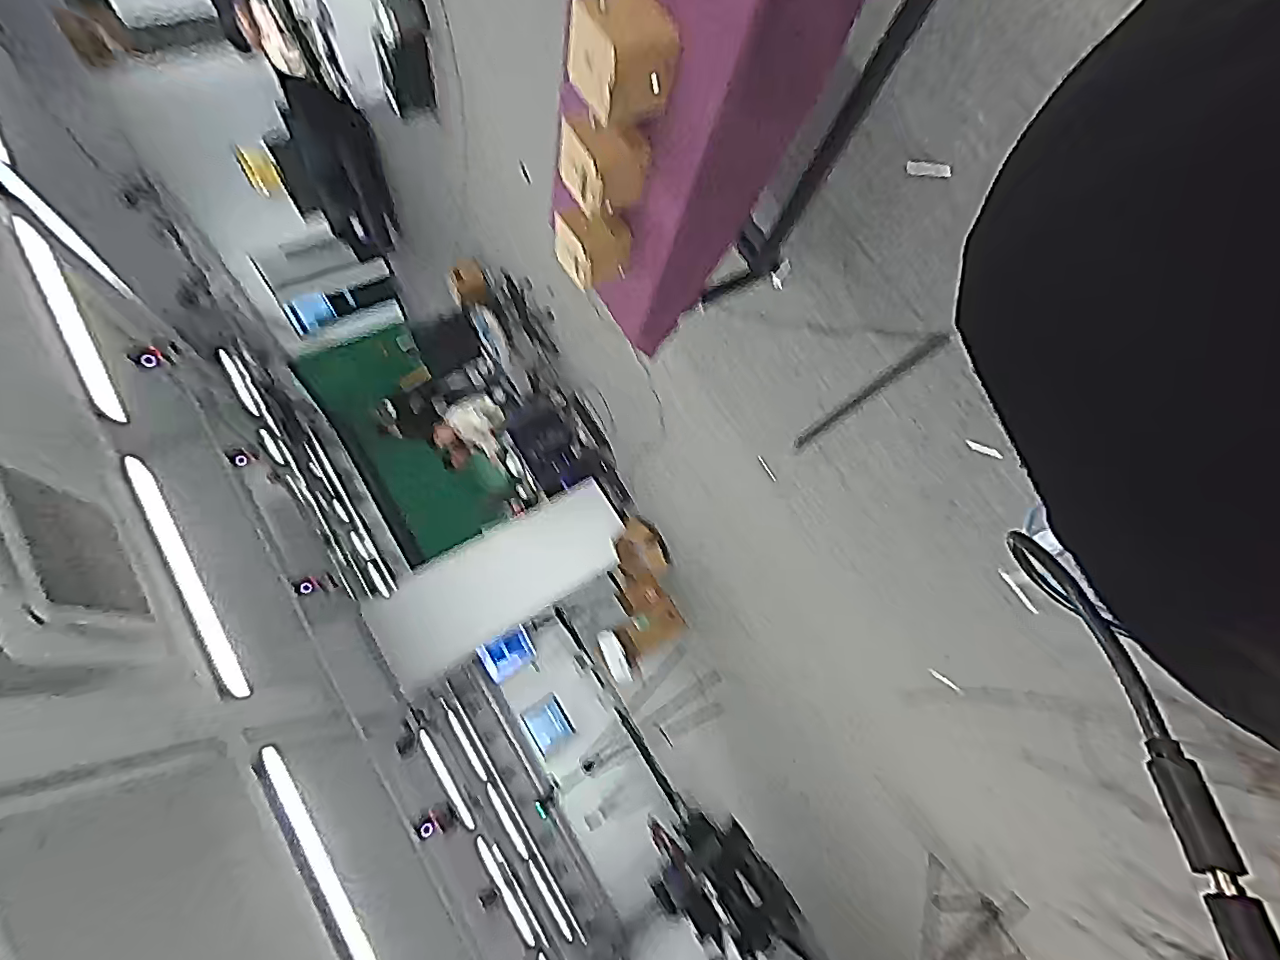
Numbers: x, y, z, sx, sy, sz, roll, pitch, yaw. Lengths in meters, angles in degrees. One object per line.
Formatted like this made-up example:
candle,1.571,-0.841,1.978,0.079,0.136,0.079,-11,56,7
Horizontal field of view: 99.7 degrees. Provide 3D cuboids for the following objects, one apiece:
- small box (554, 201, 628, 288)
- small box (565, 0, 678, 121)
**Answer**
small box,-0.155,-0.748,1.707,0.179,0.176,0.168,54,158,19
small box,-0.044,-0.946,1.197,0.179,0.176,0.168,57,159,11
